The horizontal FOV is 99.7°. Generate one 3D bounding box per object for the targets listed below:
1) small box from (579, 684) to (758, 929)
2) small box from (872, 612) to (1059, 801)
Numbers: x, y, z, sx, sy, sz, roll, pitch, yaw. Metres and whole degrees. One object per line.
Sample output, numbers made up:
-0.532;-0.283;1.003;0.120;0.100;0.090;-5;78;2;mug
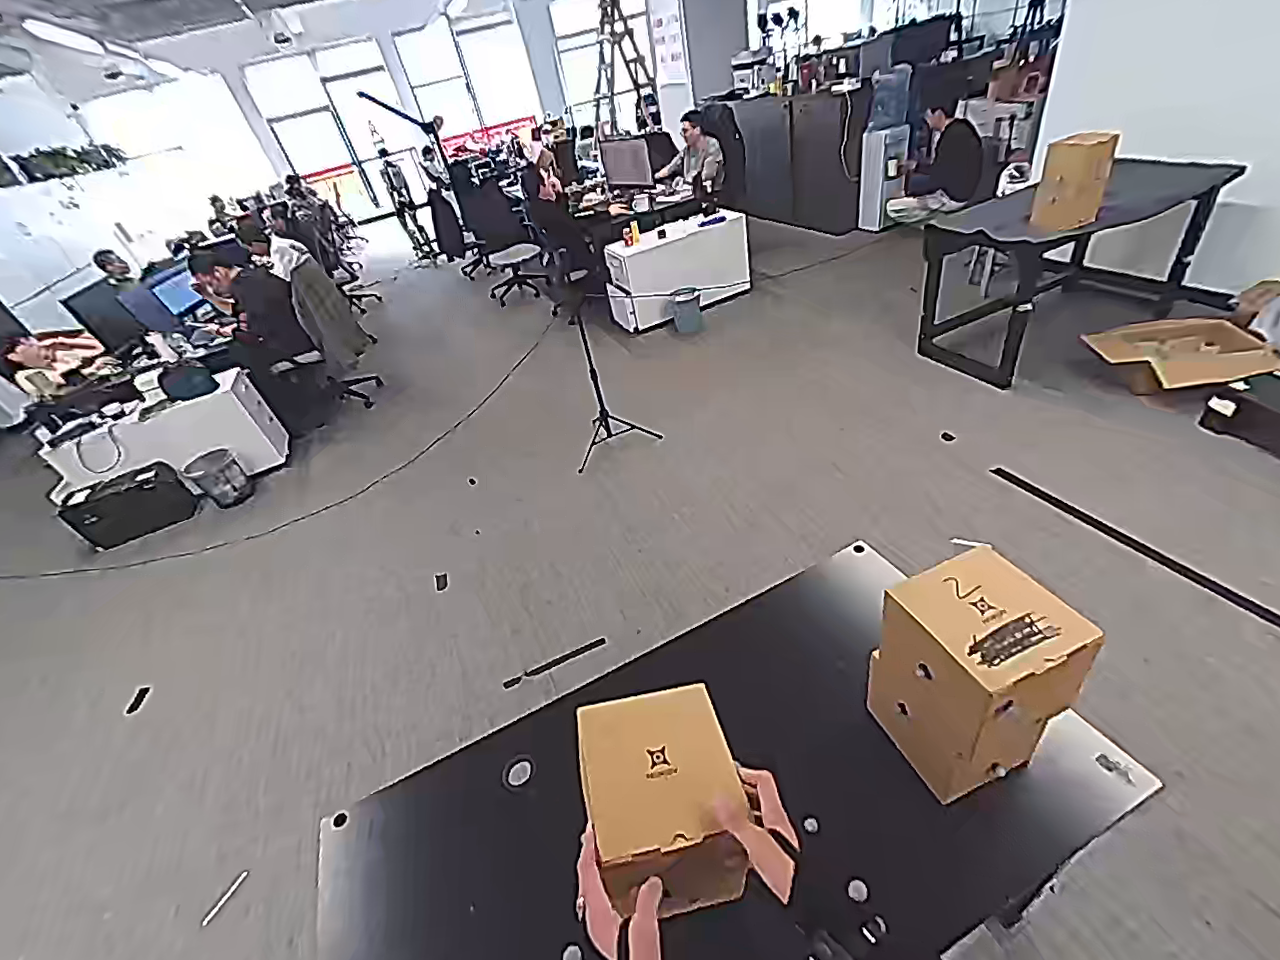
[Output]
0.020;0.378;0.640;0.168;0.176;0.179;-7;34;-11;small box
0.478;0.344;0.827;0.168;0.176;0.179;-22;38;-8;small box
